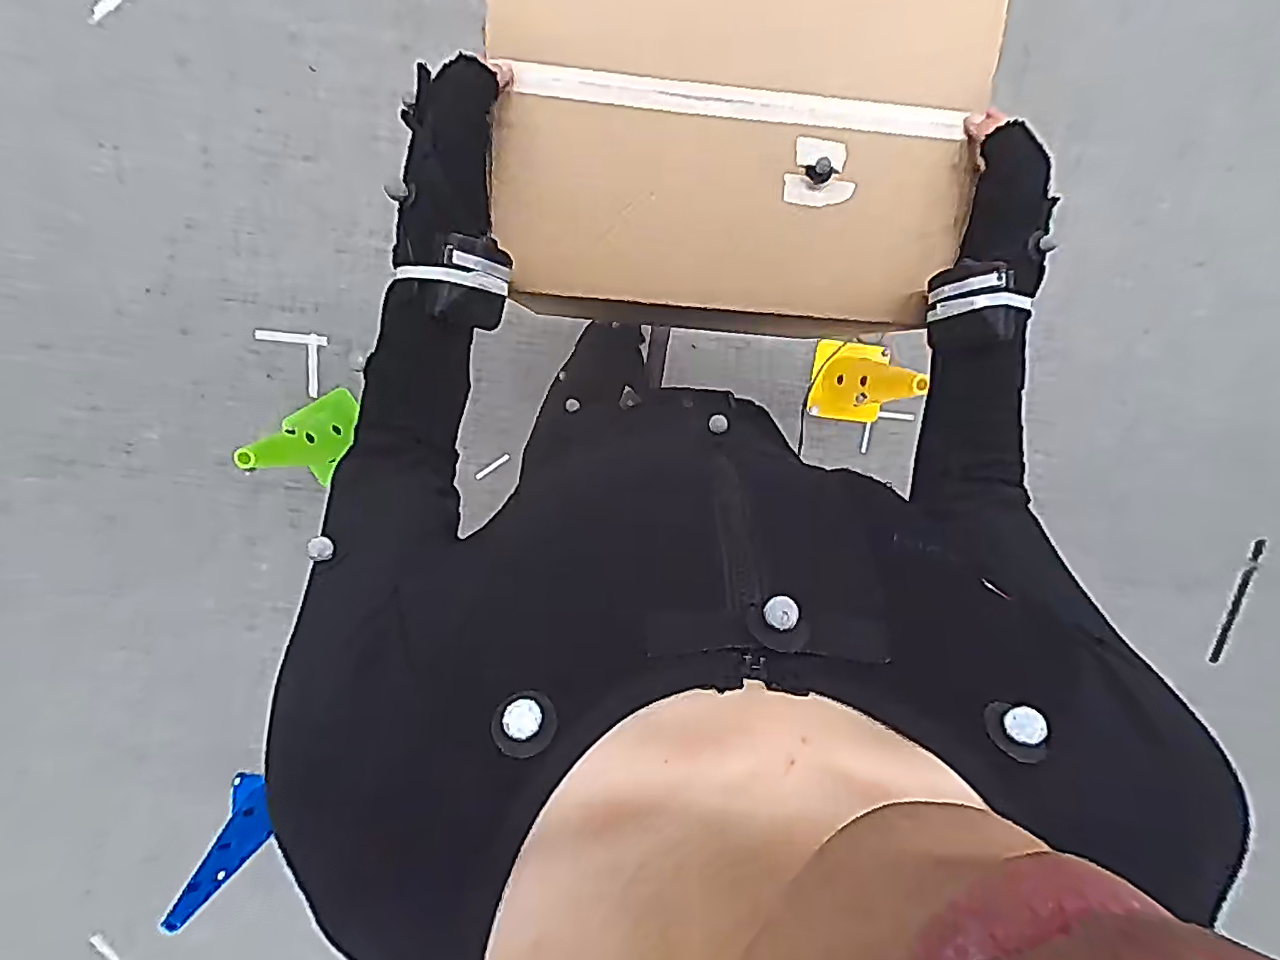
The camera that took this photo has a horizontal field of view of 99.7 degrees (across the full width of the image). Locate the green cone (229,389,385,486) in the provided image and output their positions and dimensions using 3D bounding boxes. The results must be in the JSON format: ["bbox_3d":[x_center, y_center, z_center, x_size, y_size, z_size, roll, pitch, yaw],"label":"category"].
[{"bbox_3d":[-0.783,-0.075,1.229,0.202,0.368,0.200,-29,100,4],"label":"green cone"}]

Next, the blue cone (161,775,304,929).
[{"bbox_3d":[-1.090,0.995,1.437,0.192,0.380,0.193,11,100,-4],"label":"blue cone"}]

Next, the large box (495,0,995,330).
[{"bbox_3d":[0.071,-0.341,0.584,0.408,0.320,0.320,3,103,-5],"label":"large box"}]
